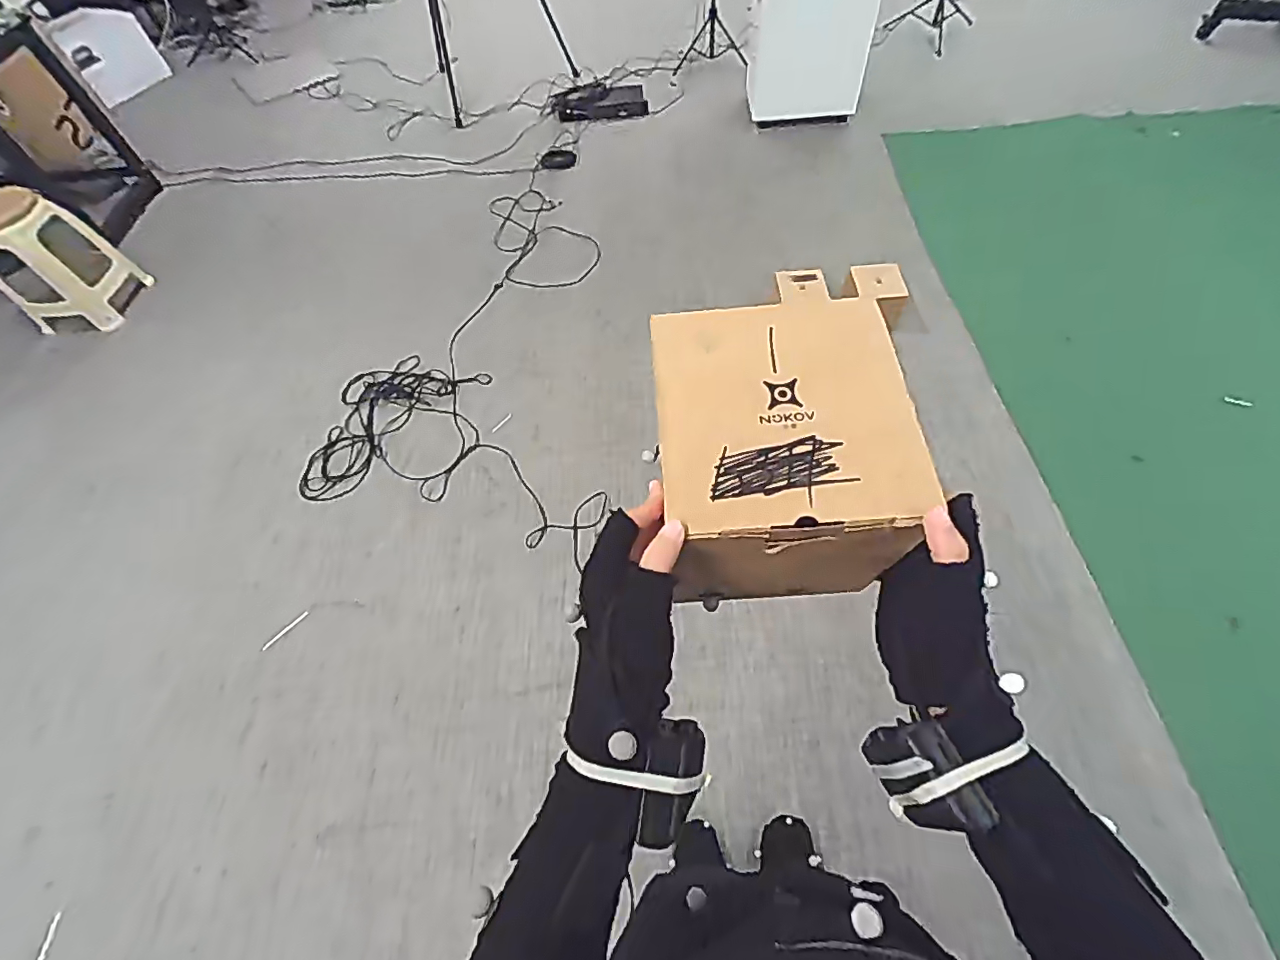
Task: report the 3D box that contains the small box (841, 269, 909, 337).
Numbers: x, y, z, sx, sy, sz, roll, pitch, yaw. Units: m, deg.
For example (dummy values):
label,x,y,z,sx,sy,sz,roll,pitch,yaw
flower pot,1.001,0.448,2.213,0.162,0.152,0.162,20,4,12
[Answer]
label,x,y,z,sx,sy,sz,roll,pitch,yaw
small box,0.839,-0.631,1.945,0.168,0.176,0.179,-2,57,3
